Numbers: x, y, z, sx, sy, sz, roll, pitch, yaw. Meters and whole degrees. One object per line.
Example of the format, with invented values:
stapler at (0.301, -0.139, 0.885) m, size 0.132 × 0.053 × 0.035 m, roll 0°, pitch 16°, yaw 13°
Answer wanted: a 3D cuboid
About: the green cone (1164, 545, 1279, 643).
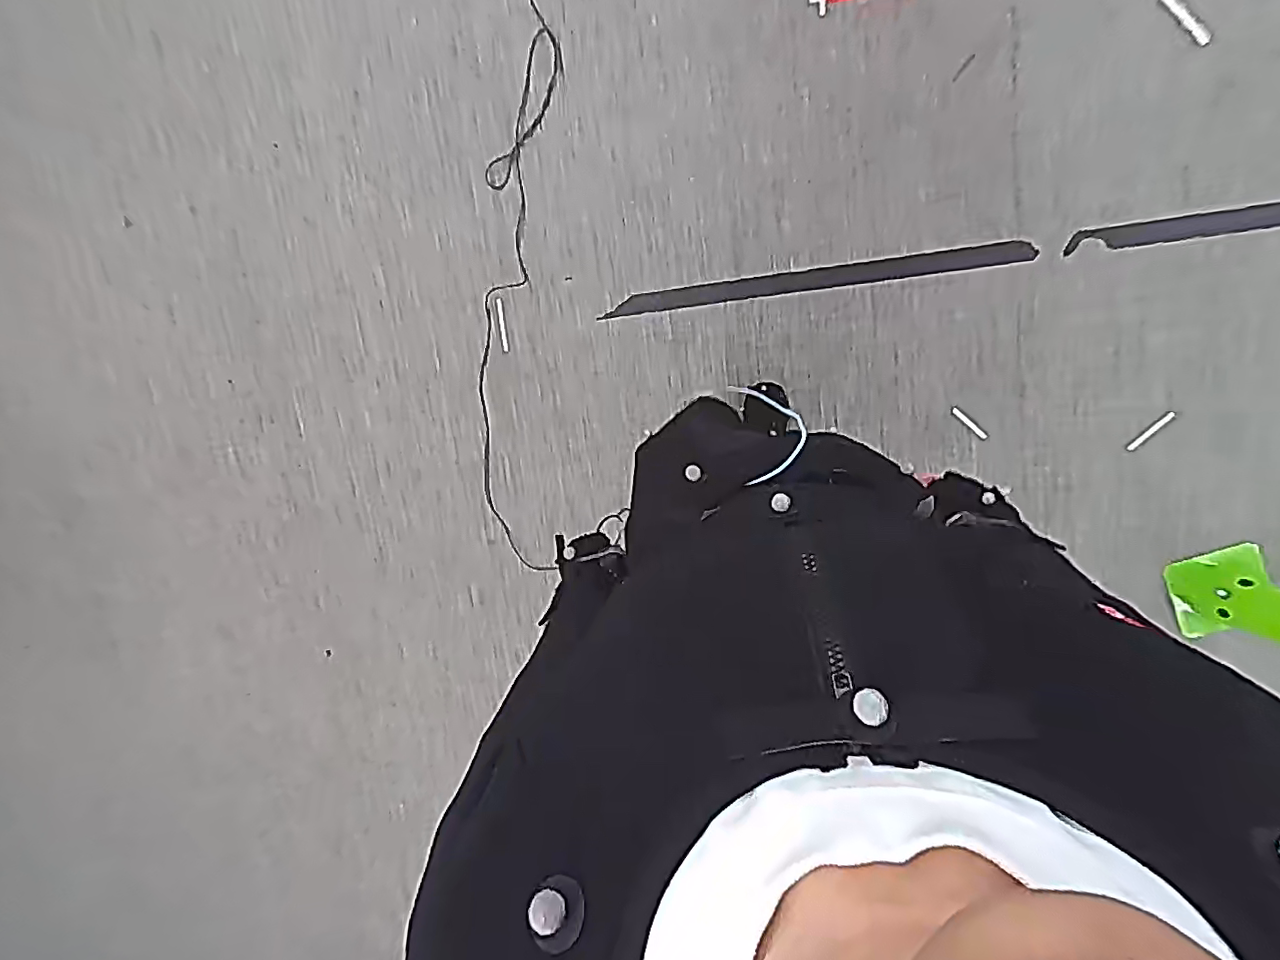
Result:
green cone at (1.358, 0.299, 1.127) m, size 0.202 × 0.368 × 0.200 m, roll -21°, pitch 96°, yaw 13°
